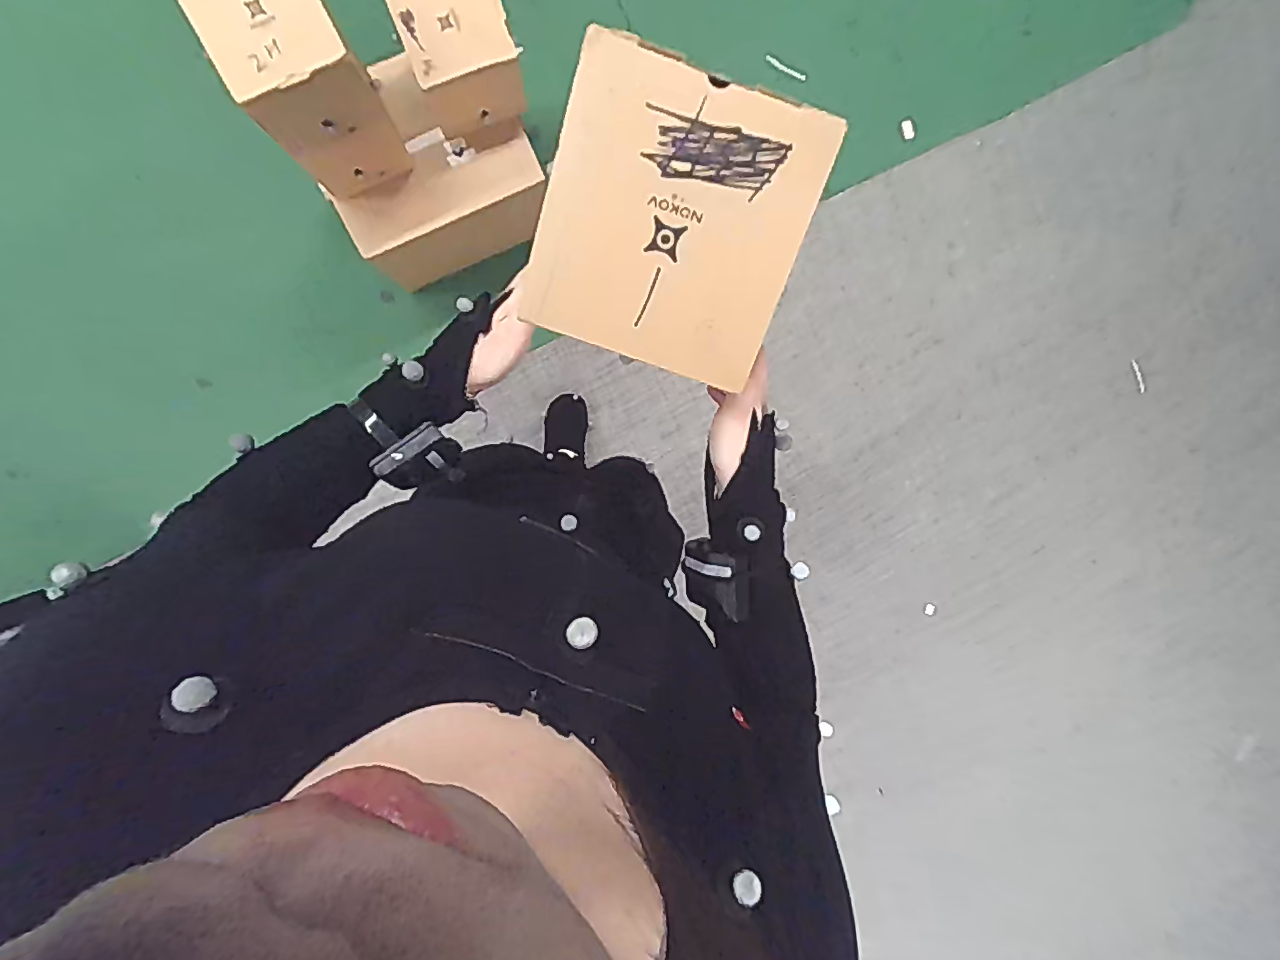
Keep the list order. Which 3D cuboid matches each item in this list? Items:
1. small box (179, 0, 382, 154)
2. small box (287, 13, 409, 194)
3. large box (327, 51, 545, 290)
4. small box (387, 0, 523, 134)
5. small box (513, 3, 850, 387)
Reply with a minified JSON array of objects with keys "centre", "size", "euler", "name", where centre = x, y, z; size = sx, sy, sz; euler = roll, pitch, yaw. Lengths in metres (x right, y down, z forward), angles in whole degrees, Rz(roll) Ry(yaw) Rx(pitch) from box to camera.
[{"centre":[-0.513,-0.623,0.786],"size":[0.168,0.176,0.179],"euler":[-27,100,-3],"name":"small box"},{"centre":[-0.537,-0.645,0.947],"size":[0.168,0.176,0.179],"euler":[-26,100,-4],"name":"small box"},{"centre":[-0.451,-0.676,1.200],"size":[0.408,0.320,0.320],"euler":[-26,100,-4],"name":"large box"},{"centre":[-0.316,-0.758,0.957],"size":[0.179,0.176,0.168],"euler":[-21,99,-4],"name":"small box"},{"centre":[0.023,-0.190,0.409],"size":[0.168,0.176,0.179],"euler":[19,108,-3],"name":"small box"}]
